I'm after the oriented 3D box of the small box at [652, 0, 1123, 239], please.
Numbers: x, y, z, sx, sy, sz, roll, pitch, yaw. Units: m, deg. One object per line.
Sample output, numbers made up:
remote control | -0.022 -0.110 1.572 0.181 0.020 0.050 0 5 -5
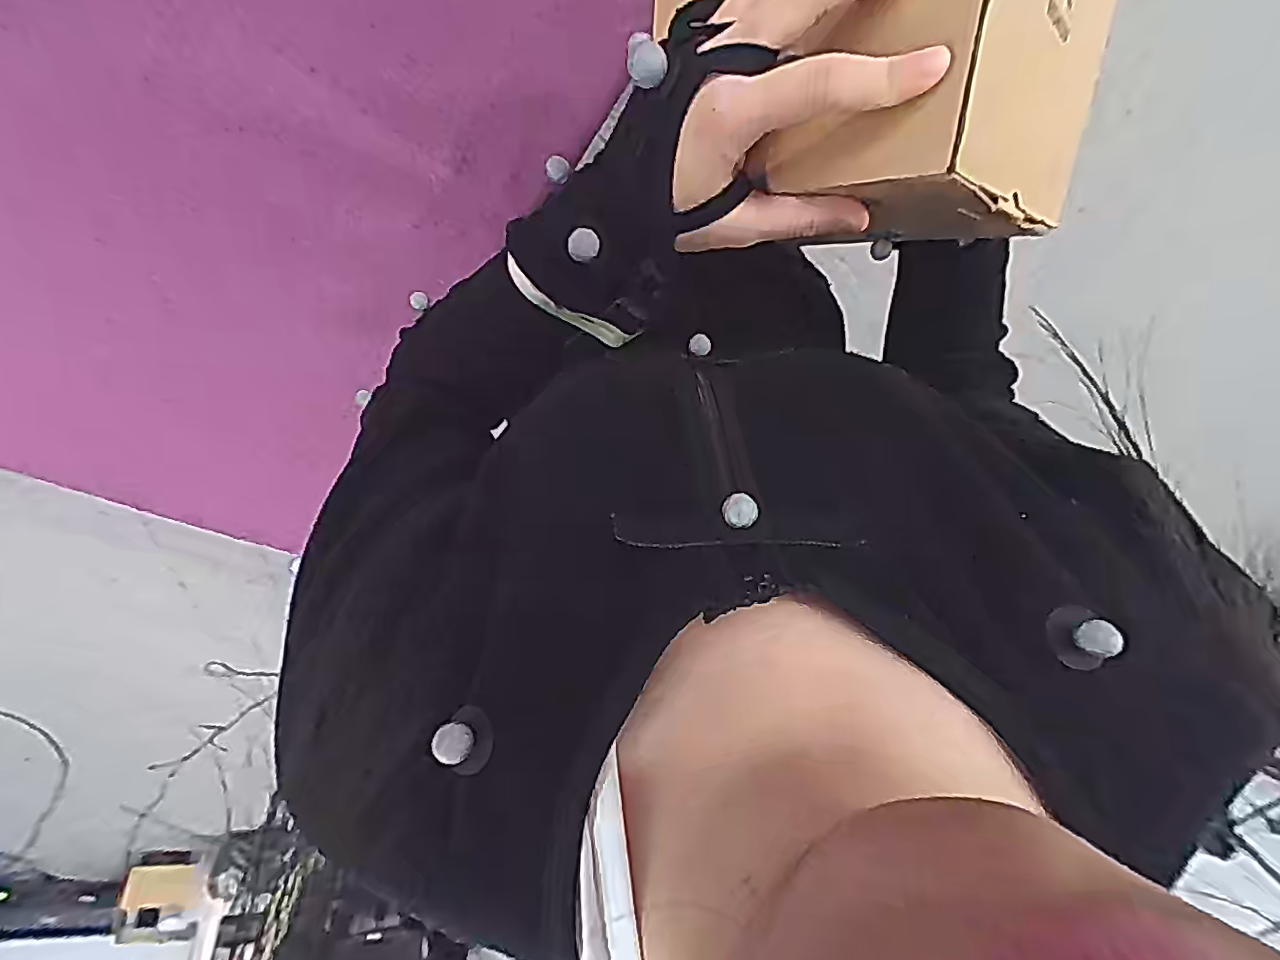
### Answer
small box | 0.121 -0.228 0.277 0.168 0.176 0.179 -14 114 -42
